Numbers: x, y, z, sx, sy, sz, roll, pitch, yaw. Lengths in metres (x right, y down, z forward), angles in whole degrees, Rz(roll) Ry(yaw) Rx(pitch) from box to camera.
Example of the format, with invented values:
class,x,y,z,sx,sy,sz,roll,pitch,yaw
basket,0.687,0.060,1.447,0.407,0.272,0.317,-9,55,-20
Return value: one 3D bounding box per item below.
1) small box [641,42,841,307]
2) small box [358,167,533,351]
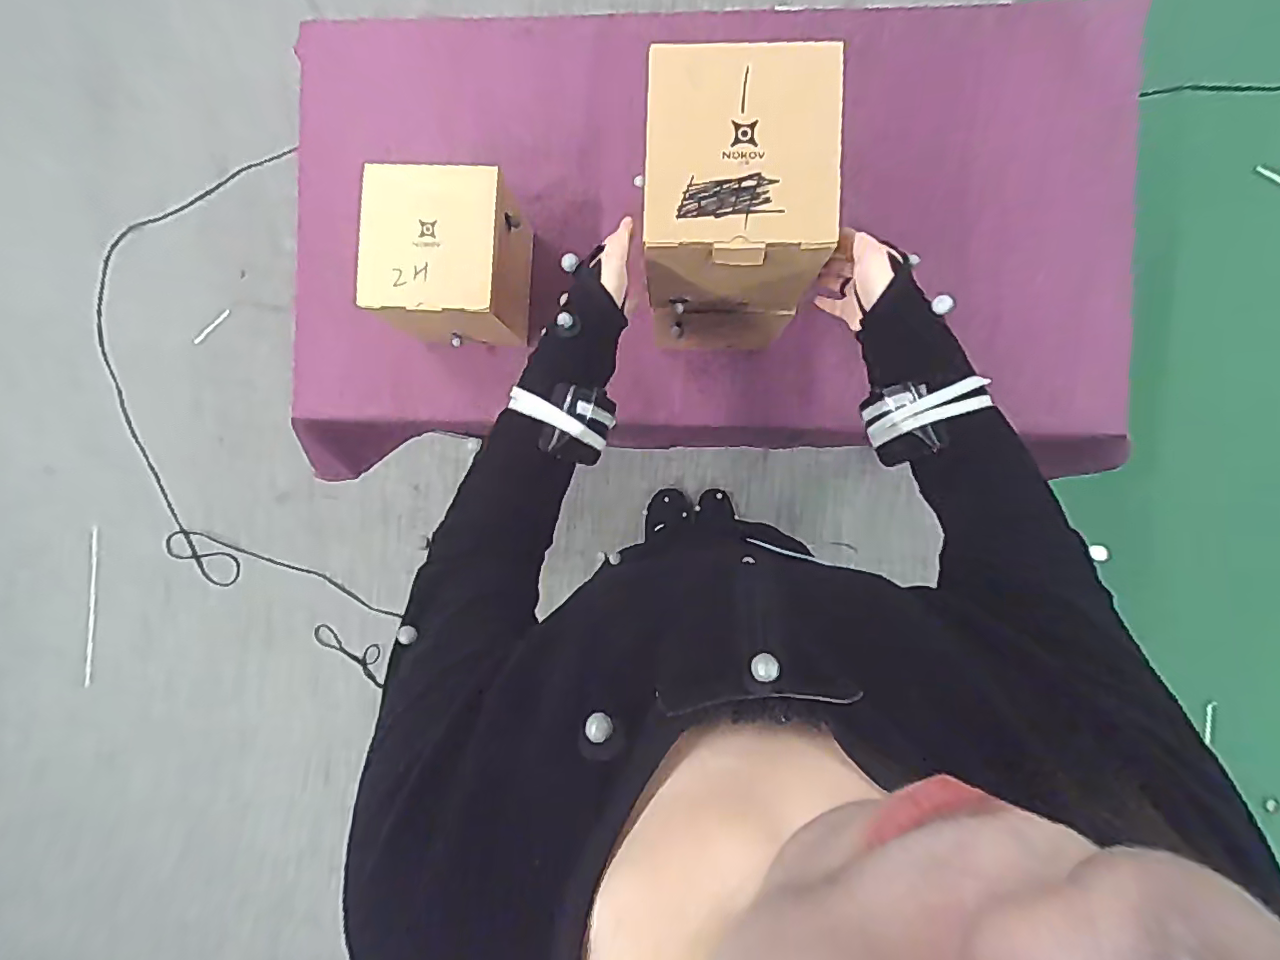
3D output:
class,x,y,z,sx,sy,sz,roll,pitch,yaw
small box,0.091,-0.282,0.538,0.168,0.176,0.179,1,88,4
small box,-0.246,-0.284,0.723,0.168,0.176,0.179,3,89,4
